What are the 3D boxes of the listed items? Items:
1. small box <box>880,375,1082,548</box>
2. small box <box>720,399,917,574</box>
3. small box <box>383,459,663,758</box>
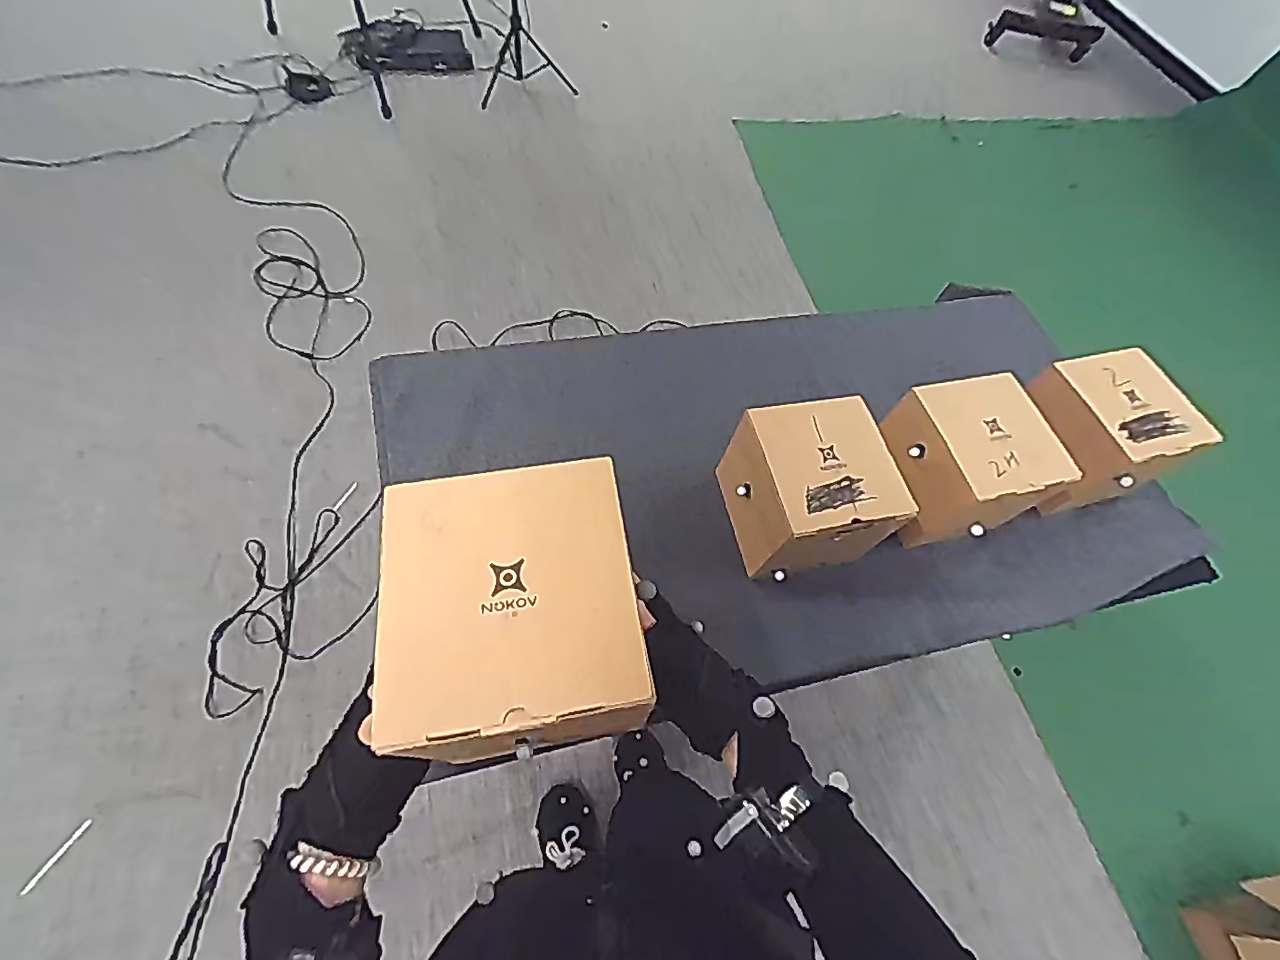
[{"bbox_3d":[0.456,-0.023,0.778,0.168,0.176,0.179,-10,64,-12],"label":"small box"},{"bbox_3d":[0.222,0.016,0.727,0.168,0.176,0.179,-8,63,-12],"label":"small box"},{"bbox_3d":[-0.084,0.107,0.426,0.168,0.176,0.179,-8,62,-7],"label":"small box"}]
